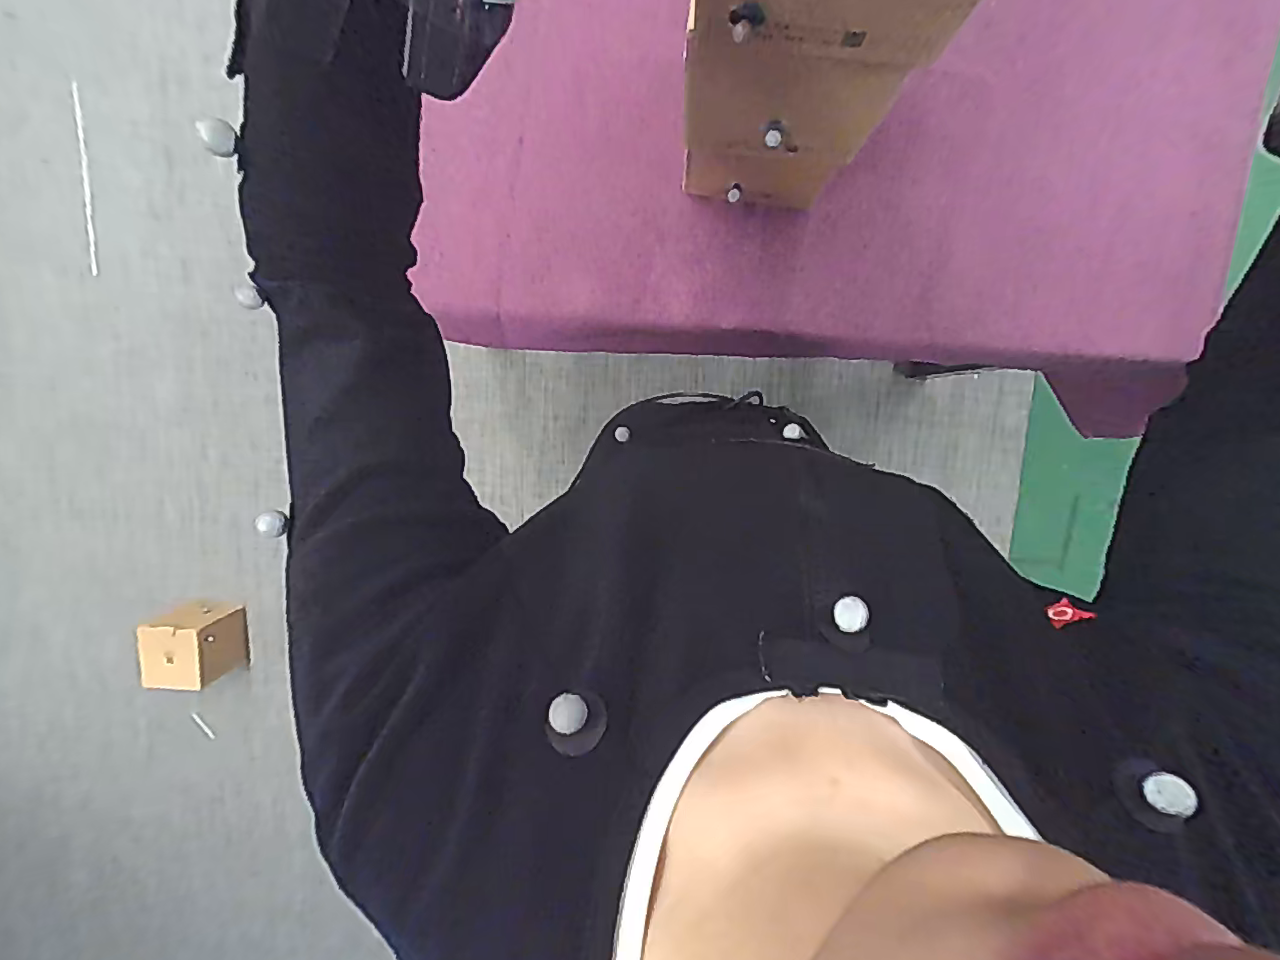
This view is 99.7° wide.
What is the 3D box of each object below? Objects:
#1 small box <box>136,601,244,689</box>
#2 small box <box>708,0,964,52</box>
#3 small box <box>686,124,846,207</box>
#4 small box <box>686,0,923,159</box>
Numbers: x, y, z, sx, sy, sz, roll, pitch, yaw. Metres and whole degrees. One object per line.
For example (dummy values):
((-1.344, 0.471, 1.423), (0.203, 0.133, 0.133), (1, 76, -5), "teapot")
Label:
((-1.243, 0.454, 1.506), (0.168, 0.176, 0.179), (3, 97, 2), "small box")
((0.124, -0.371, 0.281), (0.168, 0.176, 0.179), (8, 96, 2), "small box")
((0.144, -0.435, 0.602), (0.168, 0.176, 0.179), (8, 98, 2), "small box")
((0.130, -0.400, 0.442), (0.168, 0.176, 0.179), (7, 97, 3), "small box")
